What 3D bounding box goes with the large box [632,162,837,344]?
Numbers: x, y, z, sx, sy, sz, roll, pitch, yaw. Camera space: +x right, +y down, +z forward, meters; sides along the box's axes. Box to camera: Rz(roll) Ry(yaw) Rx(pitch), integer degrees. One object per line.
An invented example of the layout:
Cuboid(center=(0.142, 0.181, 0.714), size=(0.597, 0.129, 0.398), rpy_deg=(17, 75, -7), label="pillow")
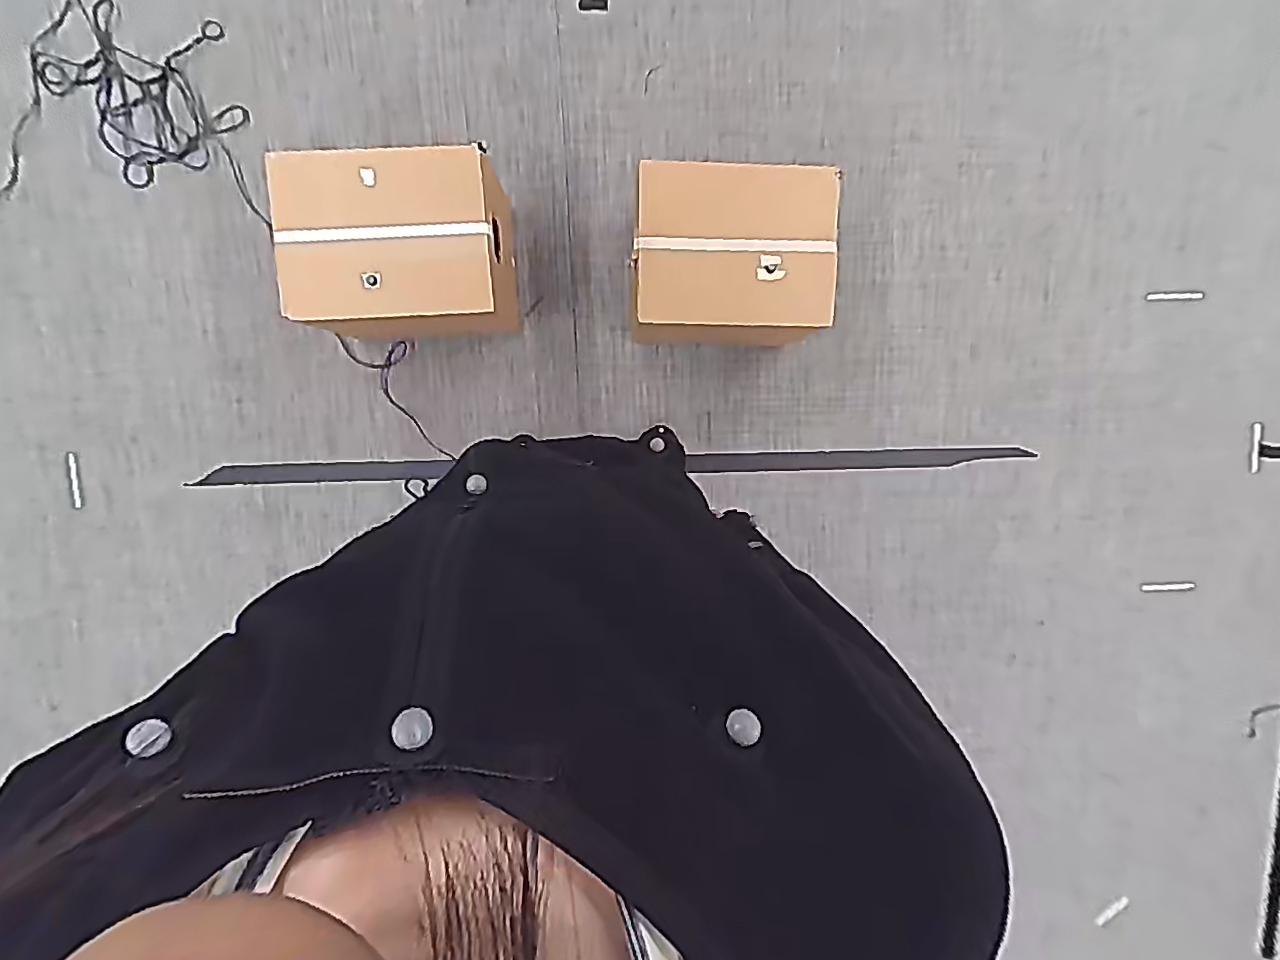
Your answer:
Cuboid(center=(0.189, -0.491, 1.240), size=(0.408, 0.320, 0.320), rpy_deg=(0, 97, -4), label="large box")
